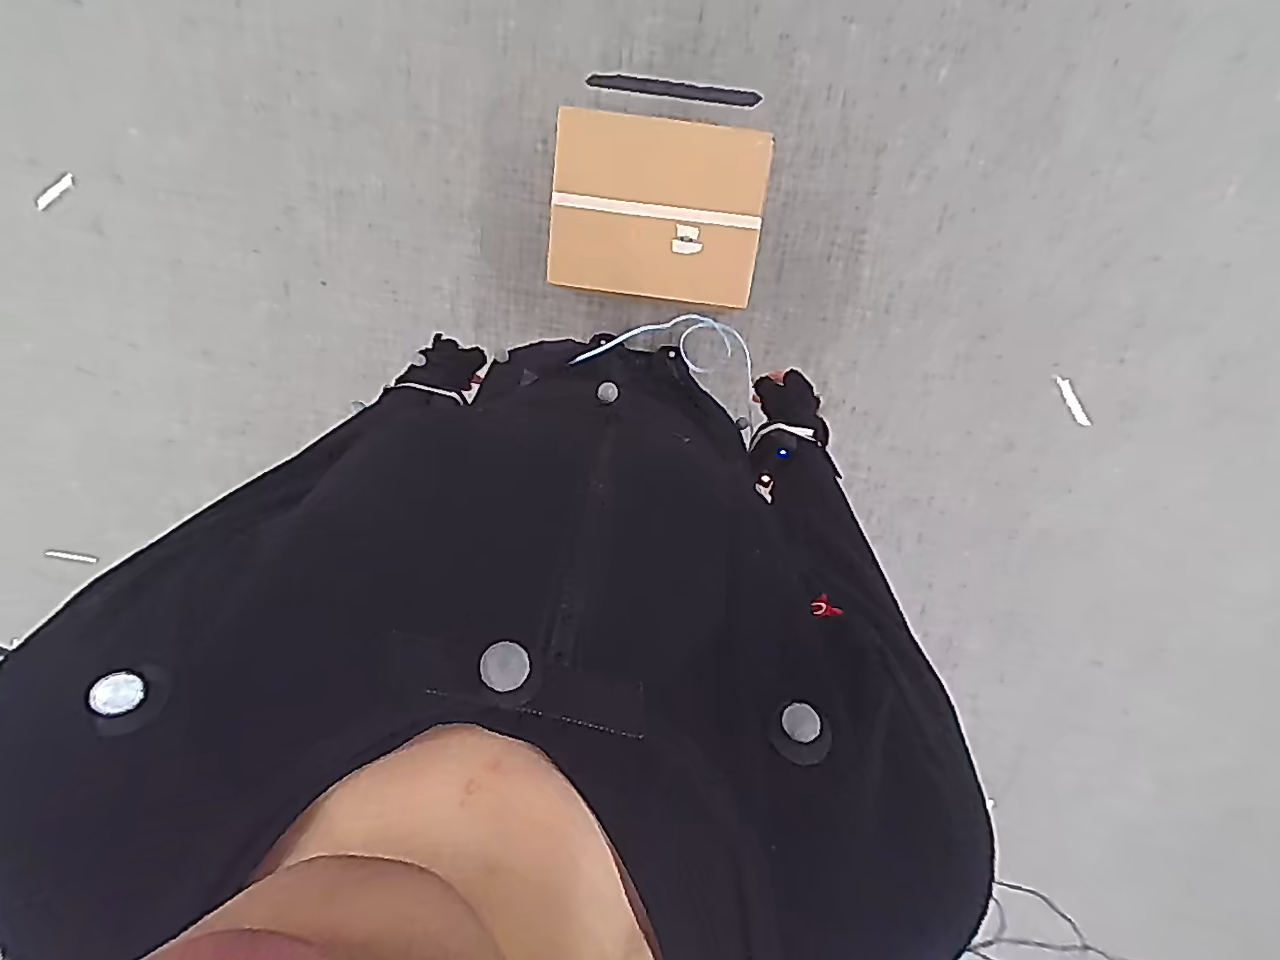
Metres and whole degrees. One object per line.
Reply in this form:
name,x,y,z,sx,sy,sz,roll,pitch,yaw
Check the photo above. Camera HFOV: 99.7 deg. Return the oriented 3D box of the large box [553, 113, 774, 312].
large box,0.040,-0.555,1.190,0.408,0.320,0.320,8,106,0
